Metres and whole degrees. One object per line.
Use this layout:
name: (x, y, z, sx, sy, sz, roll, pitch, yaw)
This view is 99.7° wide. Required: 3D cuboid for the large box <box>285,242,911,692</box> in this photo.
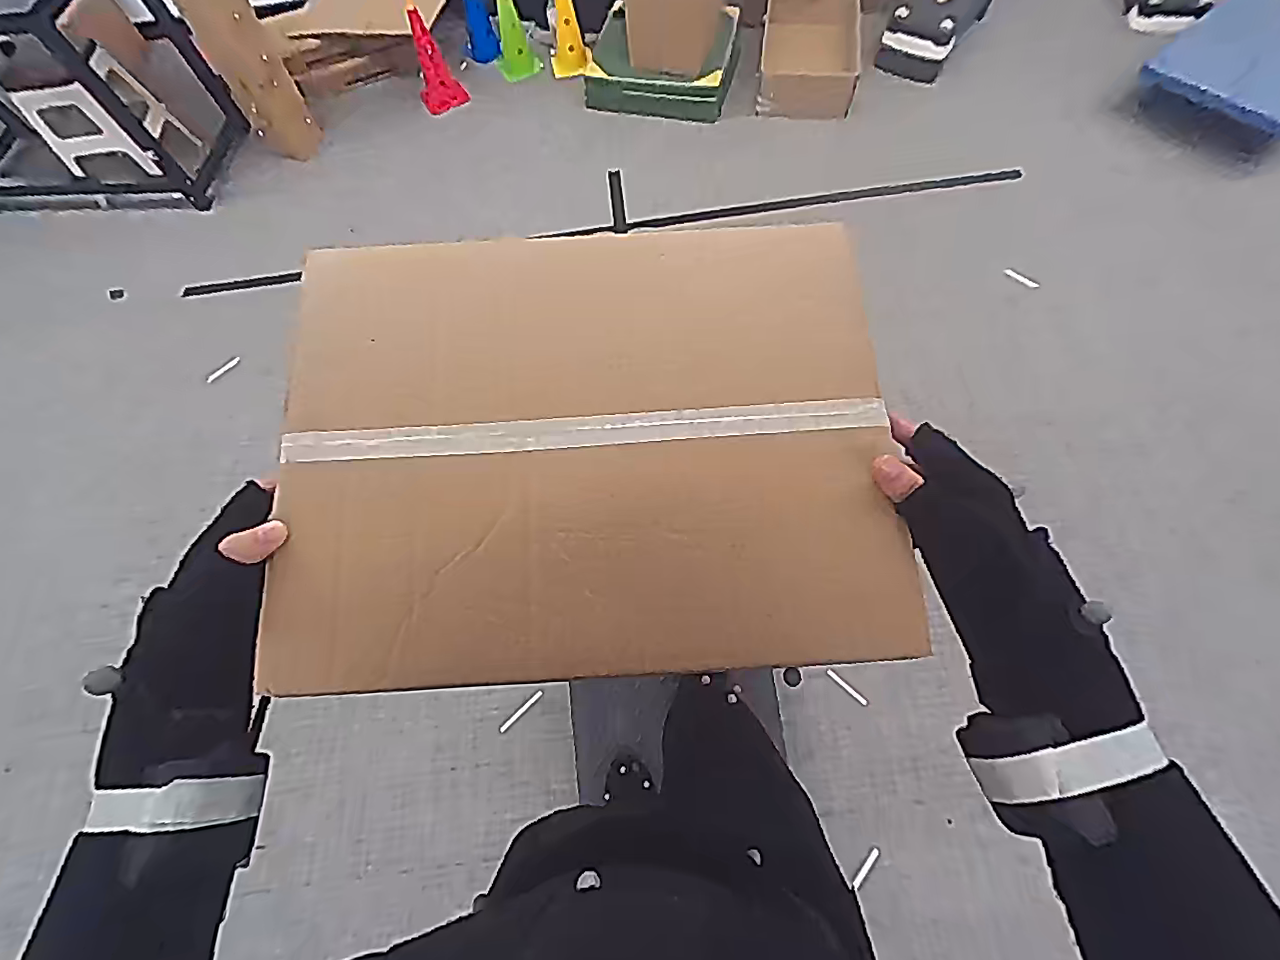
large box: (-0.032, 0.011, 0.521, 0.408, 0.320, 0.320, -3, 74, -1)
